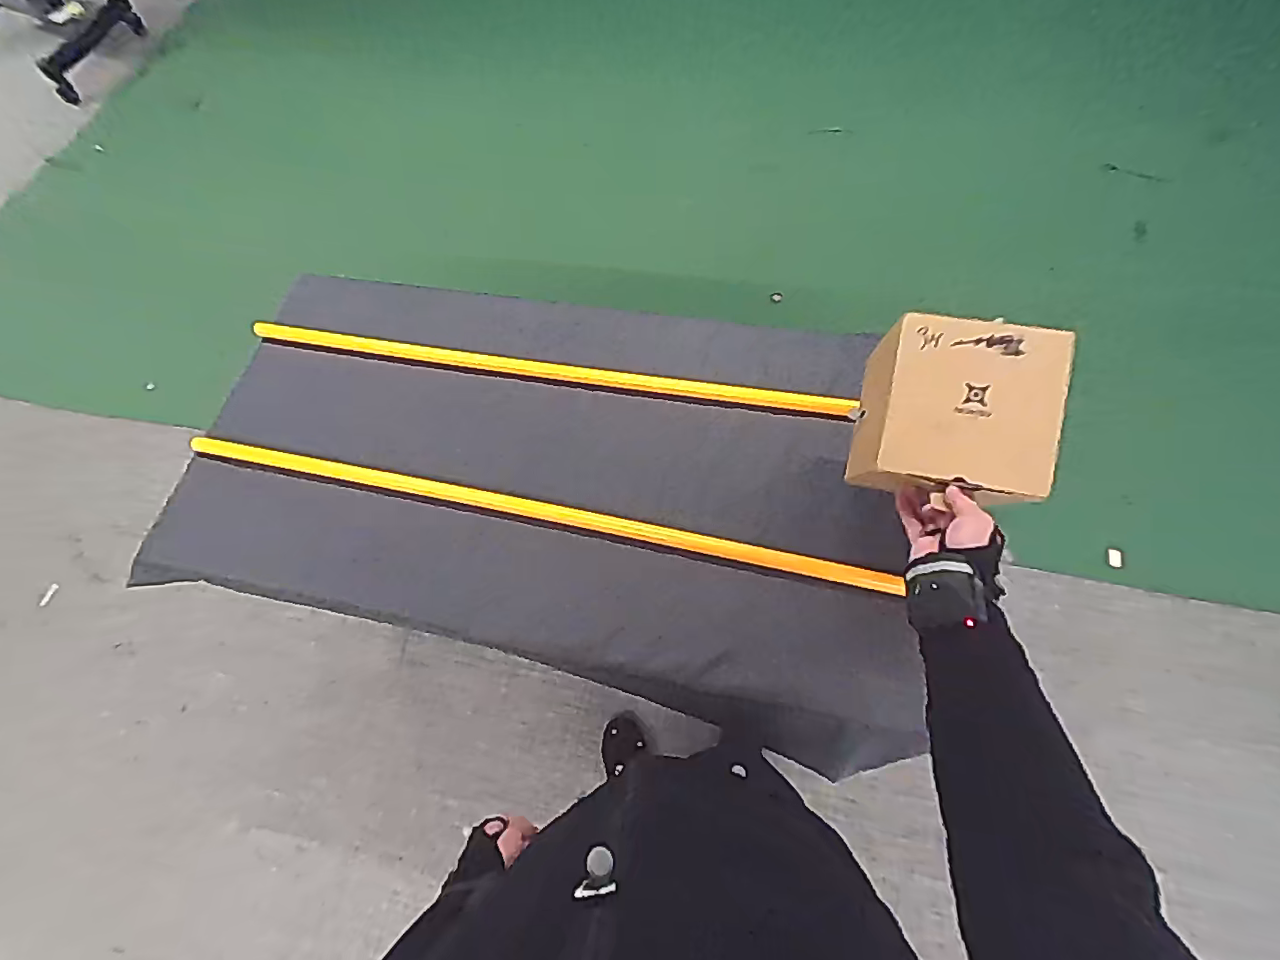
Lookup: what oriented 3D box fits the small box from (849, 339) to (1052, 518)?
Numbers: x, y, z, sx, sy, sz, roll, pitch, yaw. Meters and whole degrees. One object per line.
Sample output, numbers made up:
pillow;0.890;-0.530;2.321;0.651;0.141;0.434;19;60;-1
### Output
small box;0.357;-0.051;0.654;0.168;0.176;0.179;7;83;12
